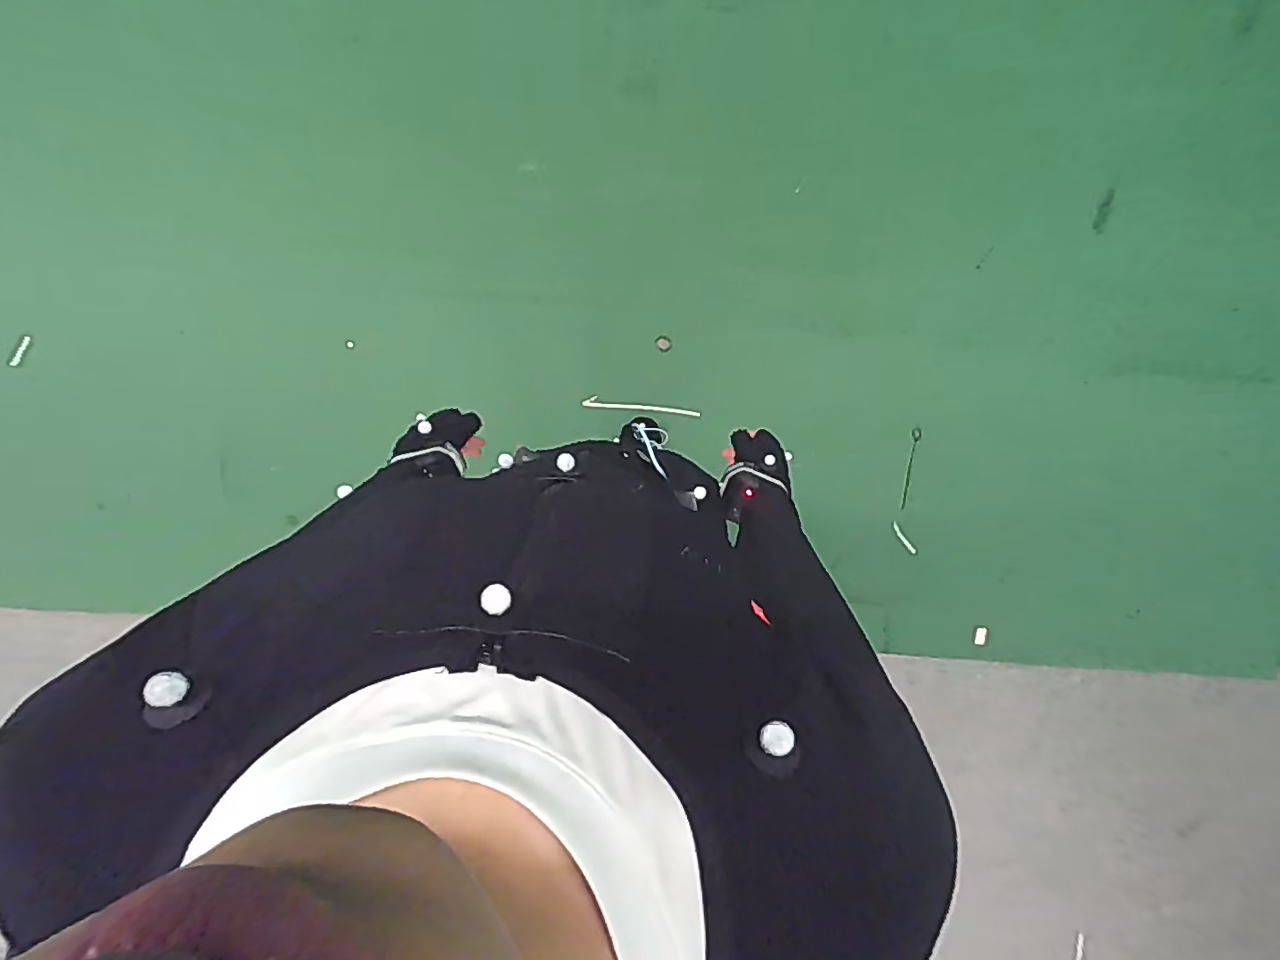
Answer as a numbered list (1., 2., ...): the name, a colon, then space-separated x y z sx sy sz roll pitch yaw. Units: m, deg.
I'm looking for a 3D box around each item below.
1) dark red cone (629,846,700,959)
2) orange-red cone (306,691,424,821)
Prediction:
1. dark red cone: 0.076 1.143 1.371 0.202 0.394 0.201 -1 93 -2
2. orange-red cone: -0.700 0.702 1.333 0.198 0.360 0.199 5 95 -2
